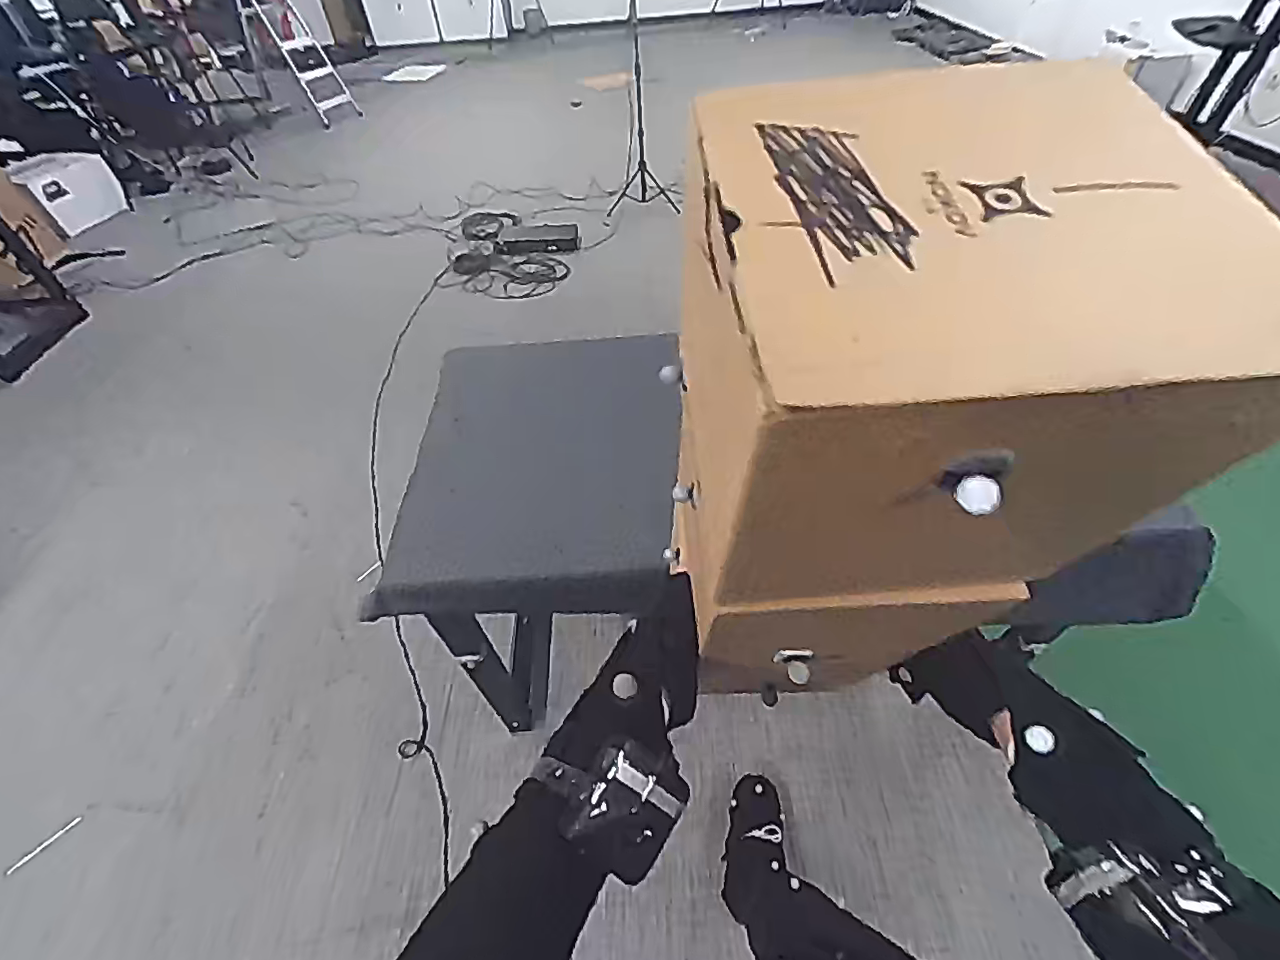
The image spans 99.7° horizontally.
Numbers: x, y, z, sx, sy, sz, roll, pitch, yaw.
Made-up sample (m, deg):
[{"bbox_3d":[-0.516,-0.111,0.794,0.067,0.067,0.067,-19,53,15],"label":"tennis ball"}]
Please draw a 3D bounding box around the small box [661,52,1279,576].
[{"bbox_3d":[0.105,-0.060,0.257,0.179,0.176,0.168,-4,61,0],"label":"small box"}]

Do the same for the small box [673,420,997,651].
[{"bbox_3d":[0.111,0.019,0.399,0.168,0.176,0.179,-2,62,2],"label":"small box"}]
